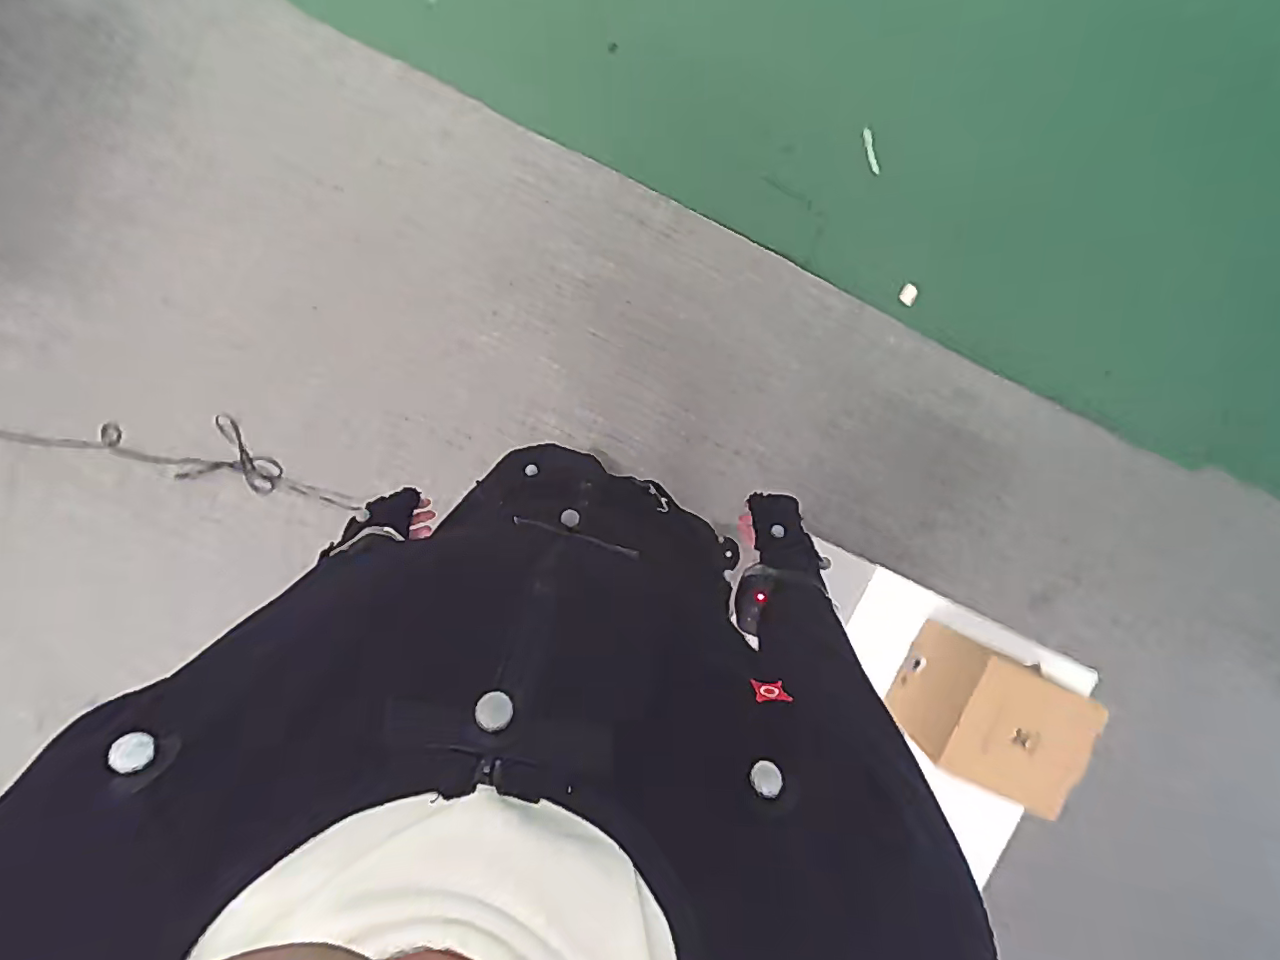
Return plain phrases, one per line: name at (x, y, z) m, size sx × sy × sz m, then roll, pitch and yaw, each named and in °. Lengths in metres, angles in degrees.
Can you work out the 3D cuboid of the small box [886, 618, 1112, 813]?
small box at (0.495, 0.319, 0.774) m, size 0.179 × 0.176 × 0.168 m, roll 25°, pitch 93°, yaw 0°
